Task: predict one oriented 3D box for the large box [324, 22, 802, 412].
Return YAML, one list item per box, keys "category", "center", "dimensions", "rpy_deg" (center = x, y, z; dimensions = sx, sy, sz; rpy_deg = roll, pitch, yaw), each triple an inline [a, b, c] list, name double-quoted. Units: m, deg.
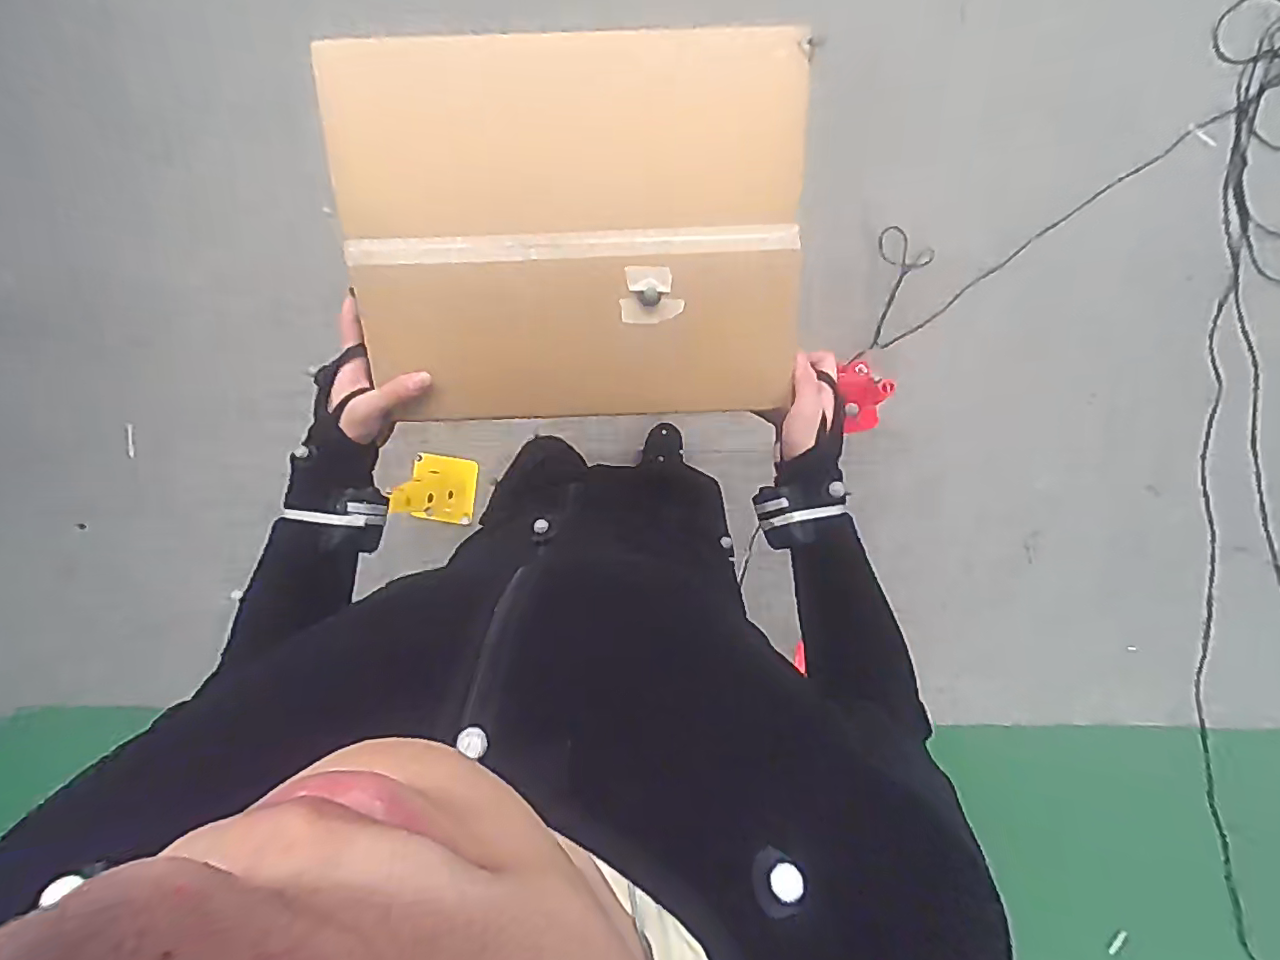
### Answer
- category: "large box"
  center: [-0.062, -0.269, 0.632]
  dimensions: [0.408, 0.320, 0.320]
  rpy_deg: [-2, 109, -1]
